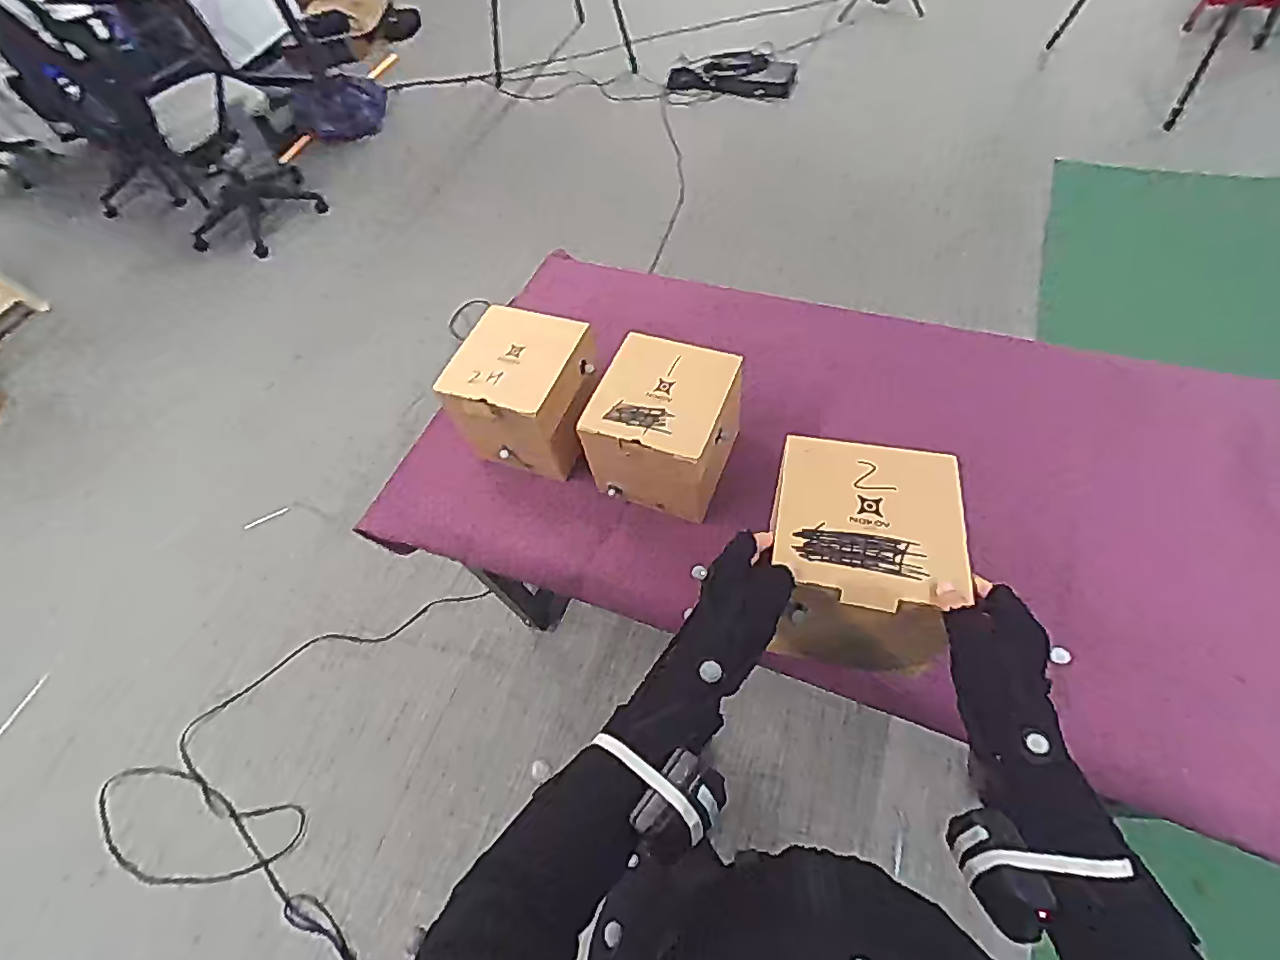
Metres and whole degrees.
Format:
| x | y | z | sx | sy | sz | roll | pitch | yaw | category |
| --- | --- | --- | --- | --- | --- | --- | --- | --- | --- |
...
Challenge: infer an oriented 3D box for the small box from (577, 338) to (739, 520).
| x | y | z | sx | sy | sz | roll | pitch | yaw | category |
| --- | --- | --- | --- | --- | --- | --- | --- | --- | --- |
| 0.036 | -0.067 | 0.765 | 0.168 | 0.176 | 0.179 | 17 | 62 | 17 | small box |

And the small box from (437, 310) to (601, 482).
| x | y | z | sx | sy | sz | roll | pitch | yaw | category |
| --- | --- | --- | --- | --- | --- | --- | --- | --- | --- |
| -0.167 | -0.126 | 0.827 | 0.168 | 0.176 | 0.179 | 16 | 63 | 17 | small box |
